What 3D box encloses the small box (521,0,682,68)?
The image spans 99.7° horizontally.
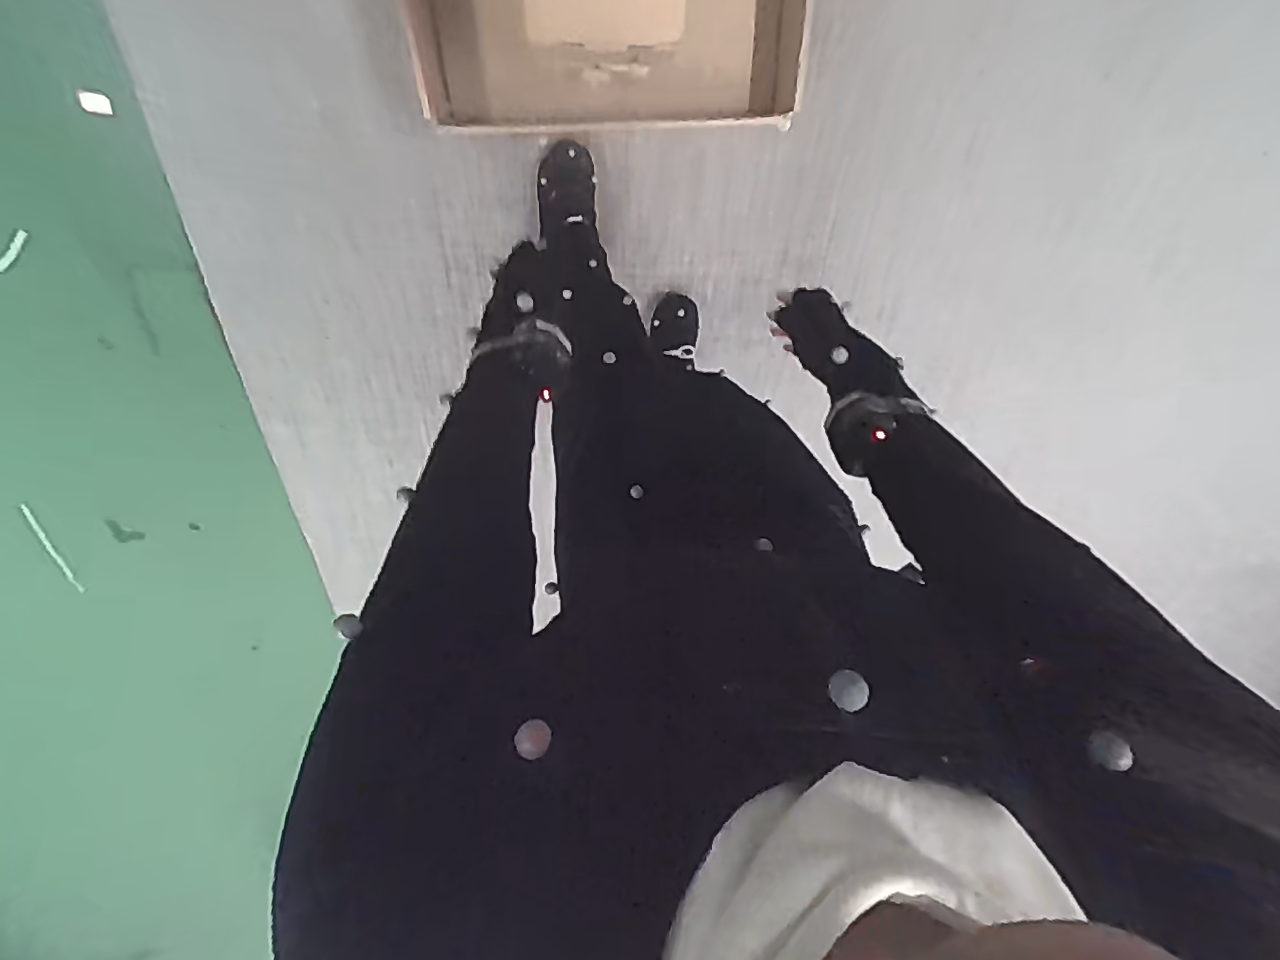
[{"bbox_3d":[-0.043,-0.566,0.587,0.168,0.176,0.179,-2,122,-6],"label":"small box"}]
